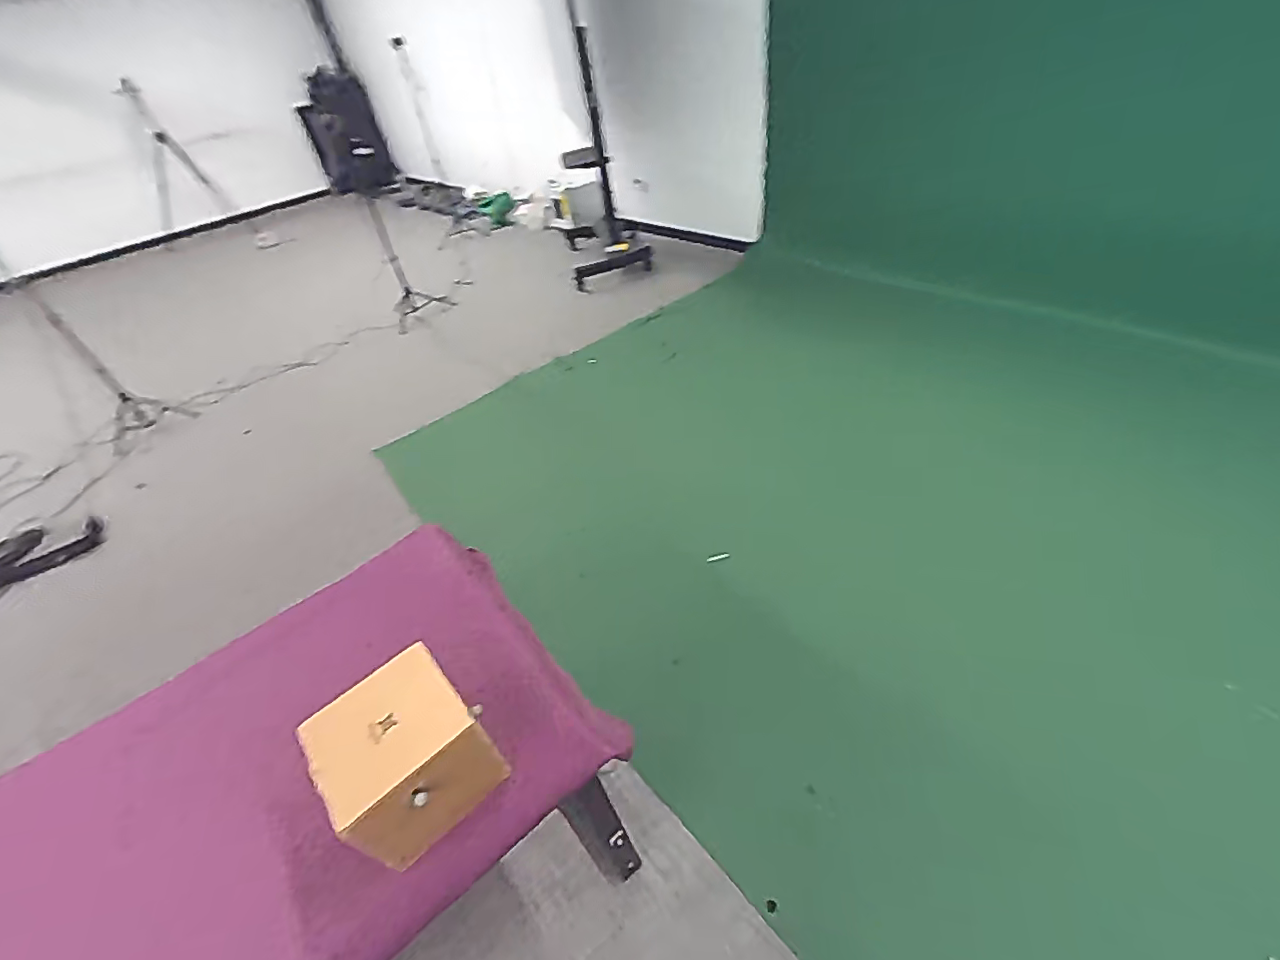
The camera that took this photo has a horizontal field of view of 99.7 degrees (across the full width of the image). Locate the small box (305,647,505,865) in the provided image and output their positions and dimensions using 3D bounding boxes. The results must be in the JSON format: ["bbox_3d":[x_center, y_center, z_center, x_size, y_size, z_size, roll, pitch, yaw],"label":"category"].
[{"bbox_3d":[-0.306,0.374,0.739,0.179,0.176,0.168,-37,48,-24],"label":"small box"}]
